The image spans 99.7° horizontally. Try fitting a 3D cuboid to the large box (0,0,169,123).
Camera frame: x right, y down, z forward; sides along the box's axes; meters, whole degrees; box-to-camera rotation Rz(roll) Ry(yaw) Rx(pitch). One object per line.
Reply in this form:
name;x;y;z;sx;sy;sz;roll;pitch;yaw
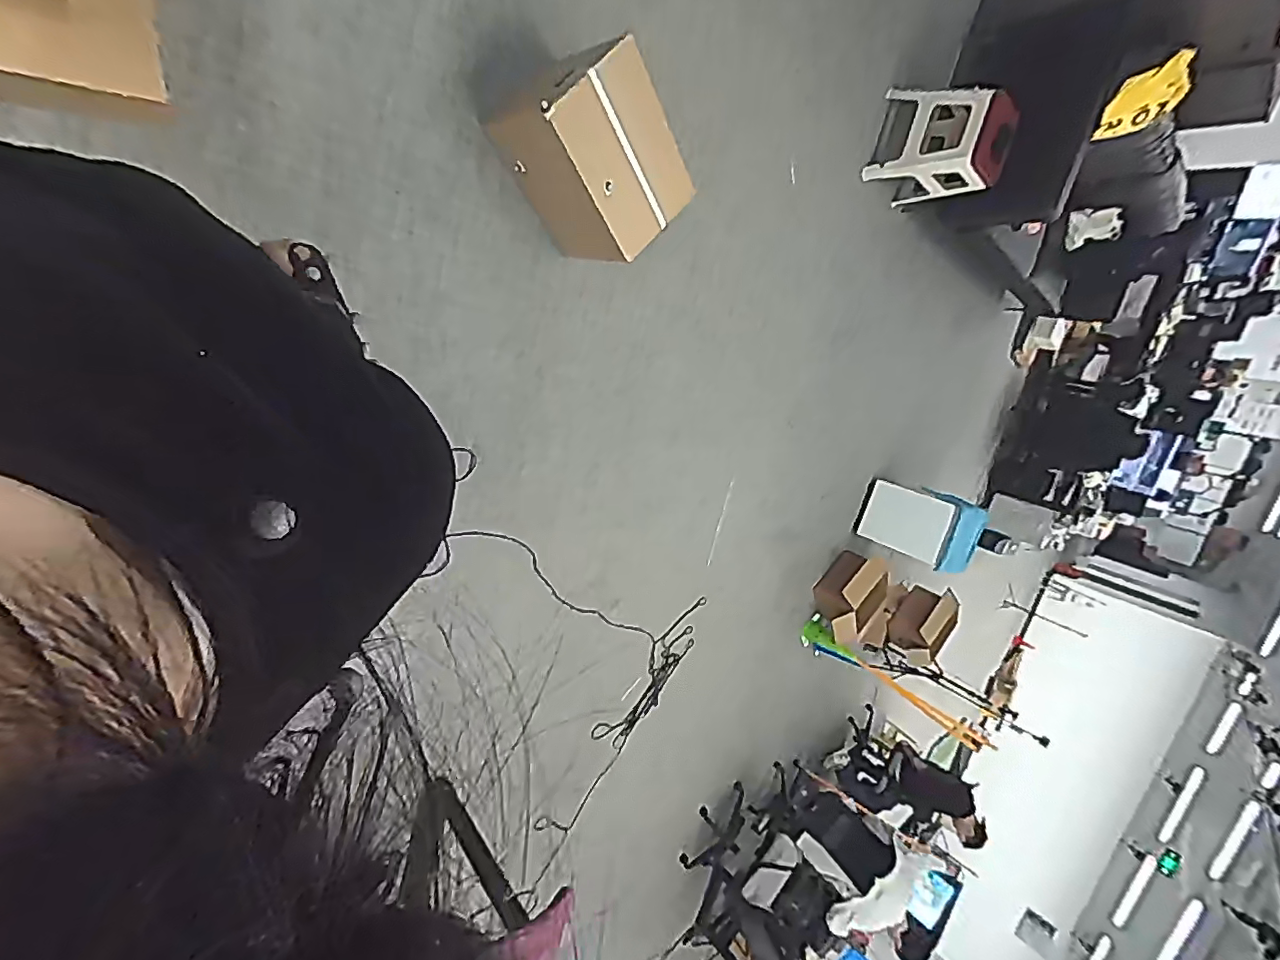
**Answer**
large box;-0.950;-0.727;0.748;0.408;0.320;0.320;-13;116;-38
